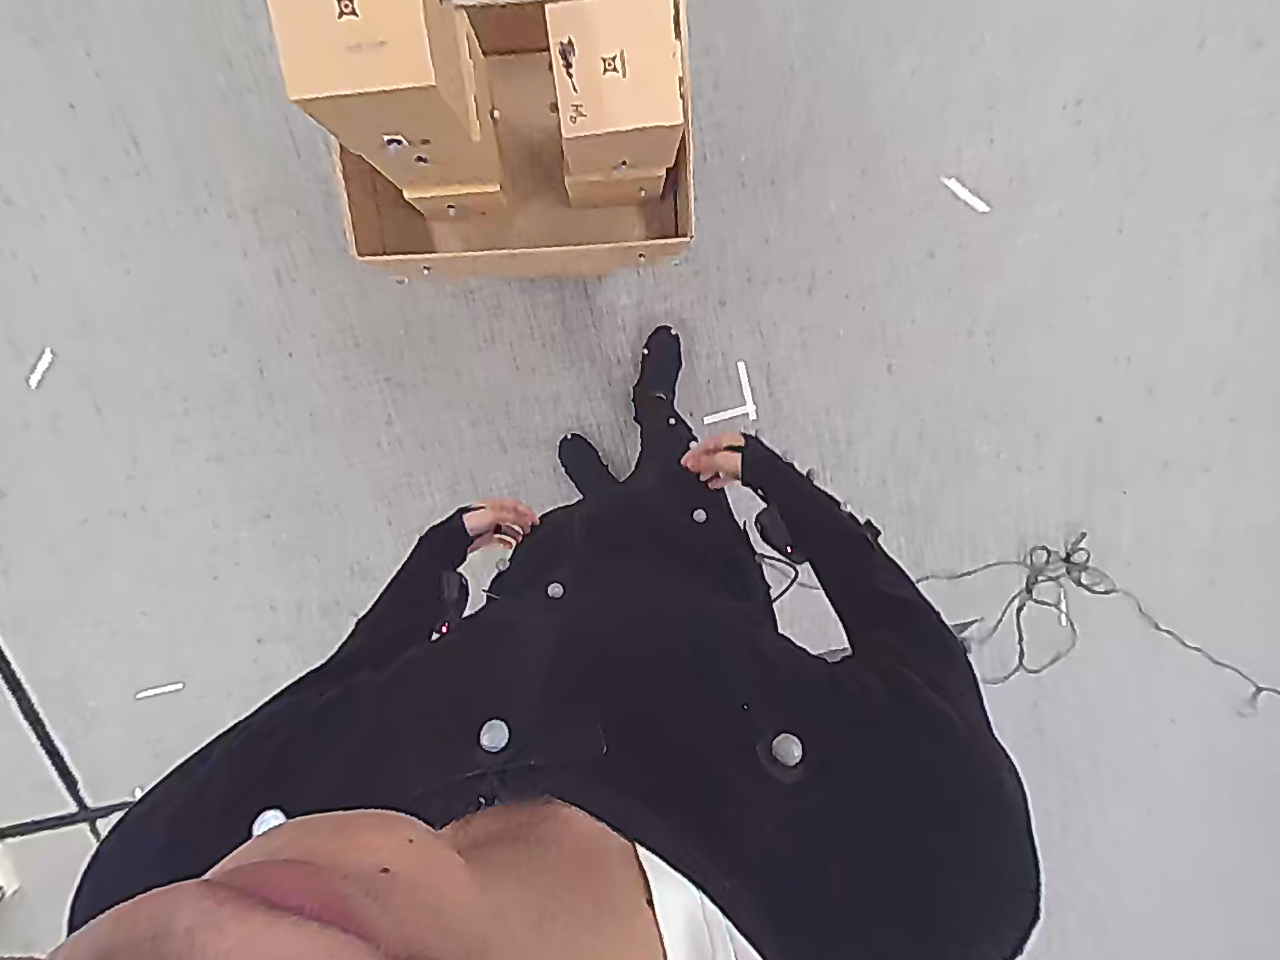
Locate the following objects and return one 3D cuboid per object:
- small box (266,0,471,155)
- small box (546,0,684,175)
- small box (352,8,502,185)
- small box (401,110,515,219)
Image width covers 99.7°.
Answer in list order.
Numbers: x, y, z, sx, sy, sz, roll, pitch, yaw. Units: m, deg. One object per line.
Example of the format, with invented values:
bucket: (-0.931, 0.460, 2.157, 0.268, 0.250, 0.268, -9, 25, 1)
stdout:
small box: (-0.316, -0.524, 0.650, 0.168, 0.176, 0.179, -6, 101, -1)
small box: (-0.036, -0.580, 0.814, 0.179, 0.176, 0.168, -6, 102, 0)
small box: (-0.318, -0.558, 0.810, 0.179, 0.176, 0.168, -5, 102, -3)
small box: (-0.329, -0.583, 0.972, 0.168, 0.176, 0.179, -6, 101, -2)
